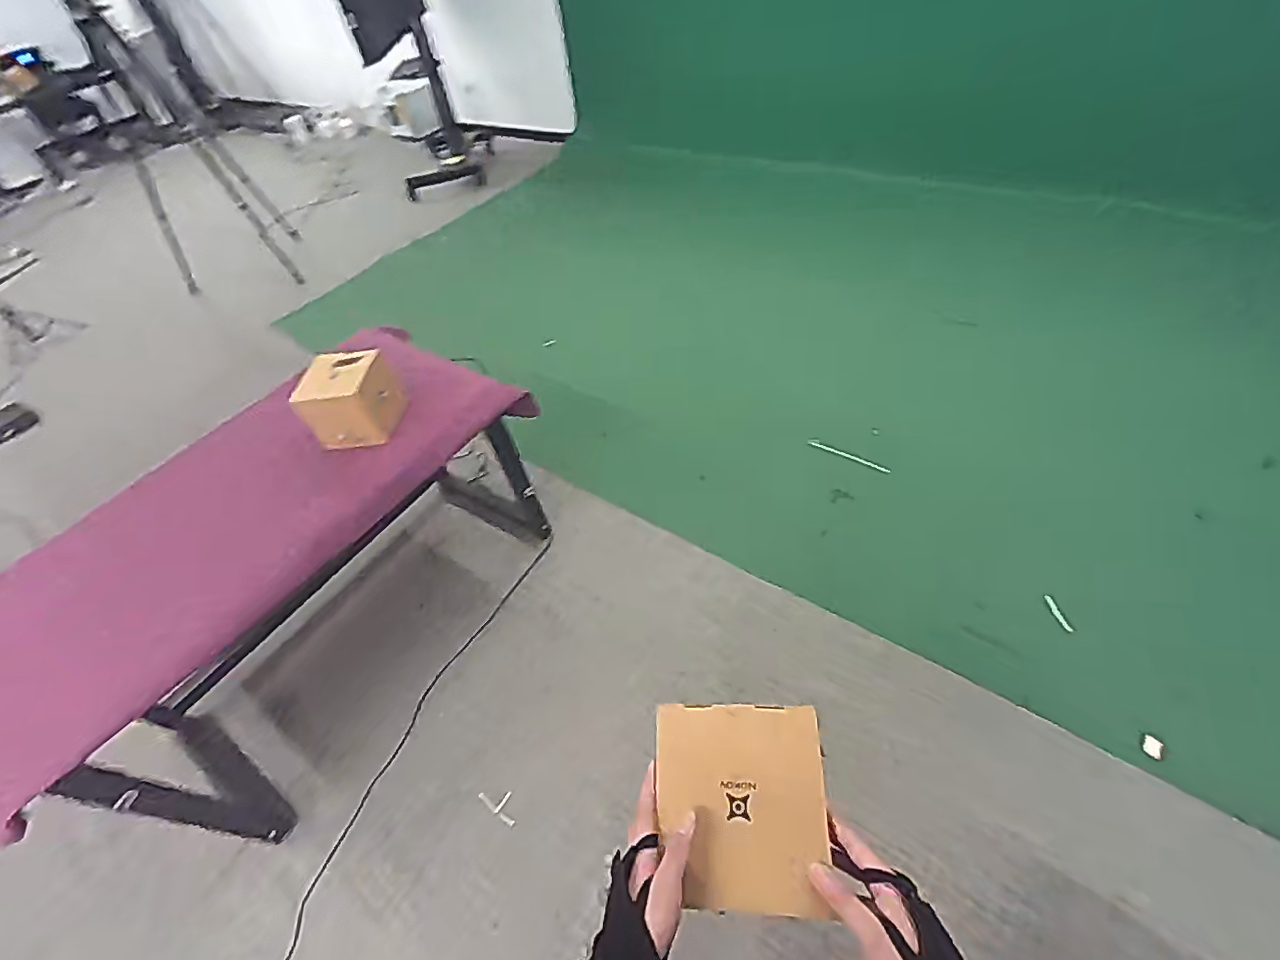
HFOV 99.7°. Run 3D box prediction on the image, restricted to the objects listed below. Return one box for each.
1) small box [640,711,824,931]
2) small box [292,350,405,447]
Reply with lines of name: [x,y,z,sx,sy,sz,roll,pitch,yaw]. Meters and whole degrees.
small box: [0.096,0.353,0.586,0.168,0.176,0.179,-3,61,8]
small box: [-0.719,-0.204,1.363,0.168,0.176,0.179,-4,50,6]
